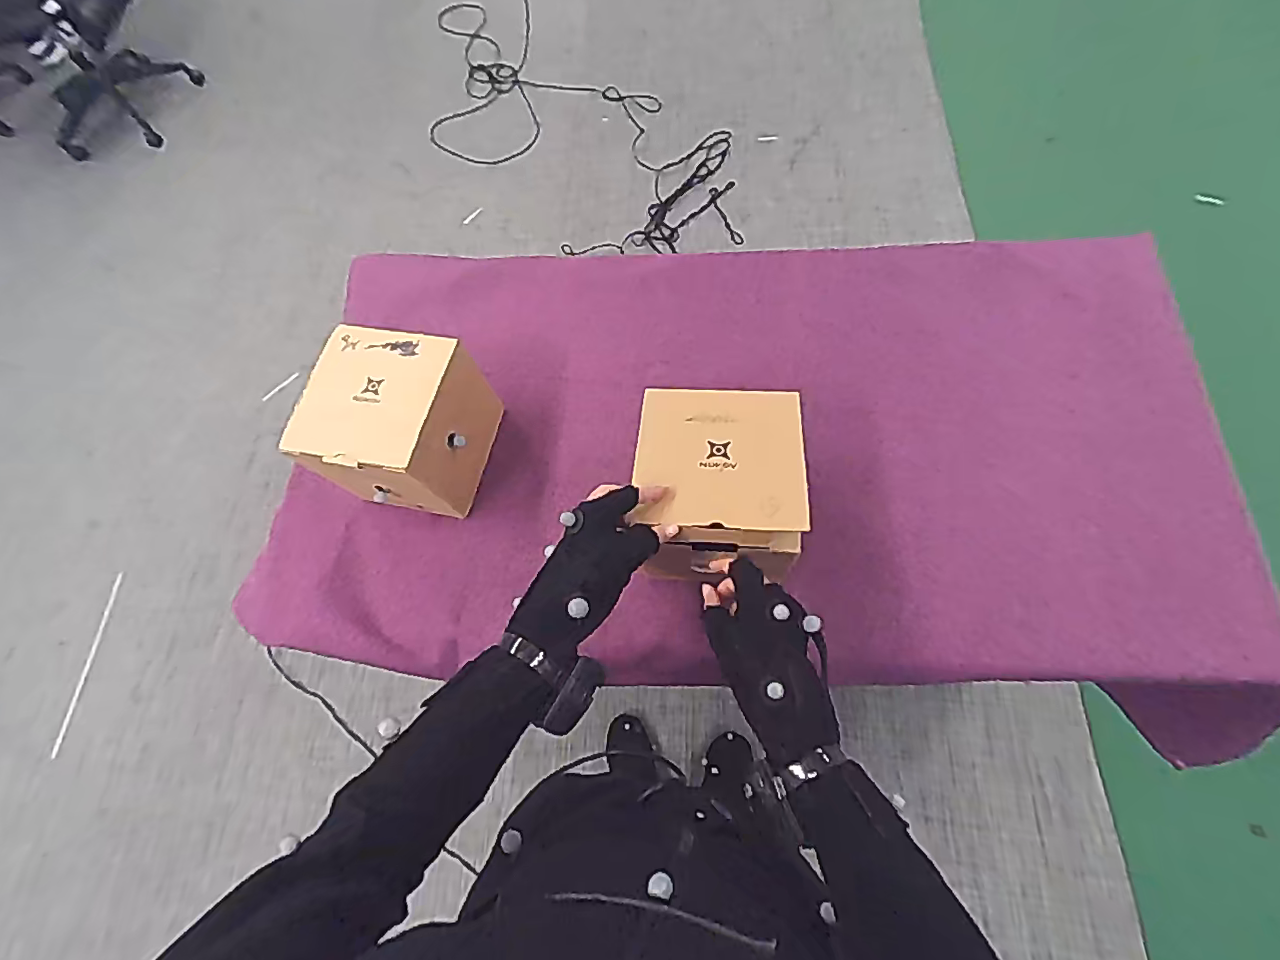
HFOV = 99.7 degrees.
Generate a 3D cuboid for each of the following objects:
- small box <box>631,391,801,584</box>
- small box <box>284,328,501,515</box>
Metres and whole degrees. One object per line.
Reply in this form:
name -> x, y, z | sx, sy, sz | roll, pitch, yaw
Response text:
small box -> 0.088, 0.016, 0.622 | 0.168, 0.176, 0.179 | 3, 68, 7
small box -> -0.299, -0.067, 0.698 | 0.168, 0.176, 0.179 | 10, 70, 10
